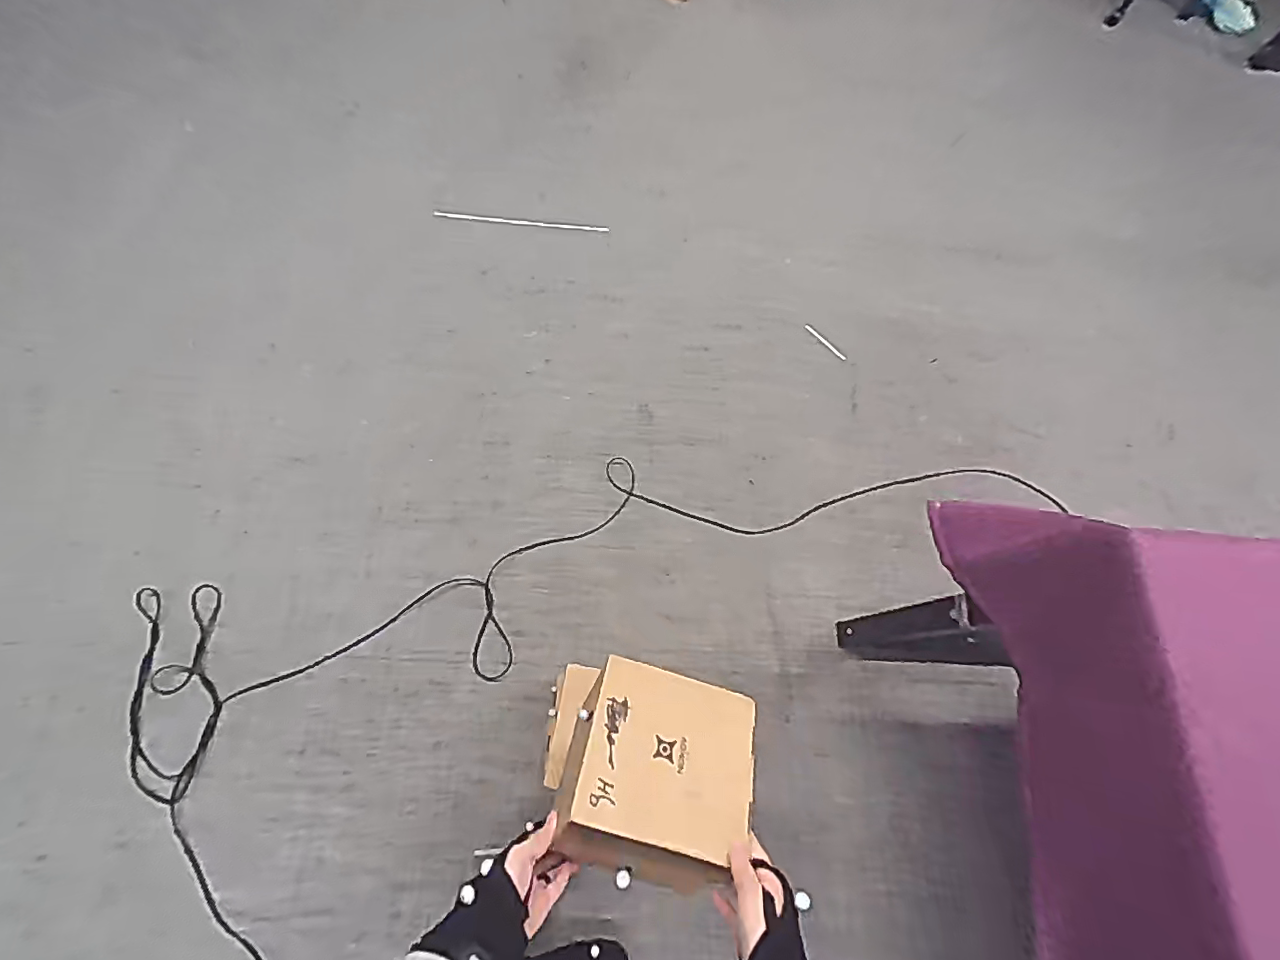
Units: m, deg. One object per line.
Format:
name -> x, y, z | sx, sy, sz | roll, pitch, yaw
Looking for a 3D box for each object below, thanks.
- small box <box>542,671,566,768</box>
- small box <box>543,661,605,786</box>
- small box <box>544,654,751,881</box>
small box -> -0.084, 0.465, 1.042 | 0.179, 0.176, 0.168 | 8, 70, -4
small box -> -0.058, 0.404, 0.891 | 0.168, 0.176, 0.179 | 11, 70, -2
small box -> 0.007, 0.328, 0.609 | 0.179, 0.176, 0.168 | 19, 45, -4
